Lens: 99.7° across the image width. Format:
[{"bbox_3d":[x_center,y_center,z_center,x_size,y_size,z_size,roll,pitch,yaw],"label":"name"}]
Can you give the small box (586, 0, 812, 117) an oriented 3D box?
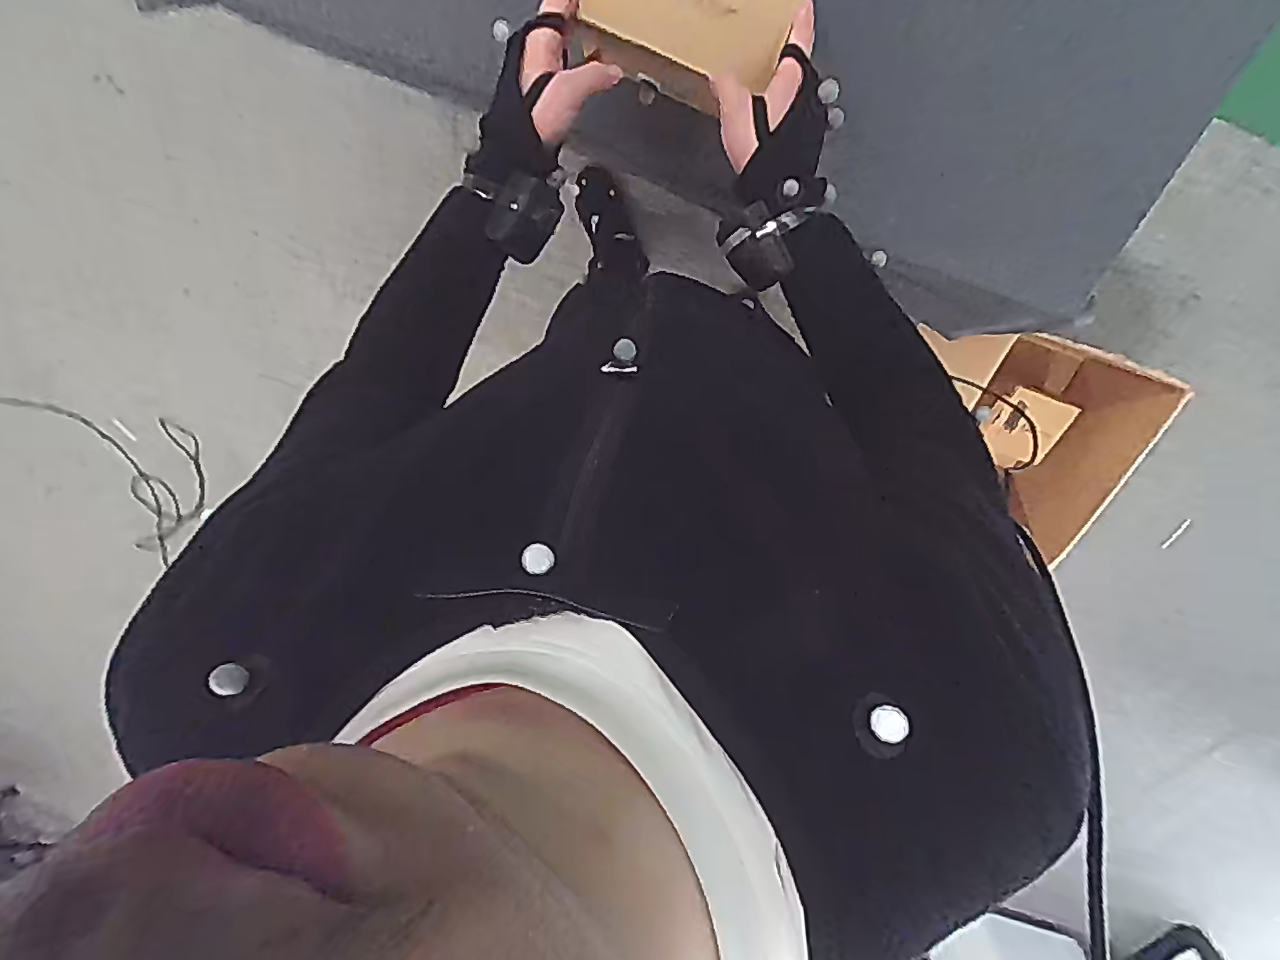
[{"bbox_3d":[0.058,-0.442,0.458,0.168,0.176,0.179,16,117,-11],"label":"small box"}]
